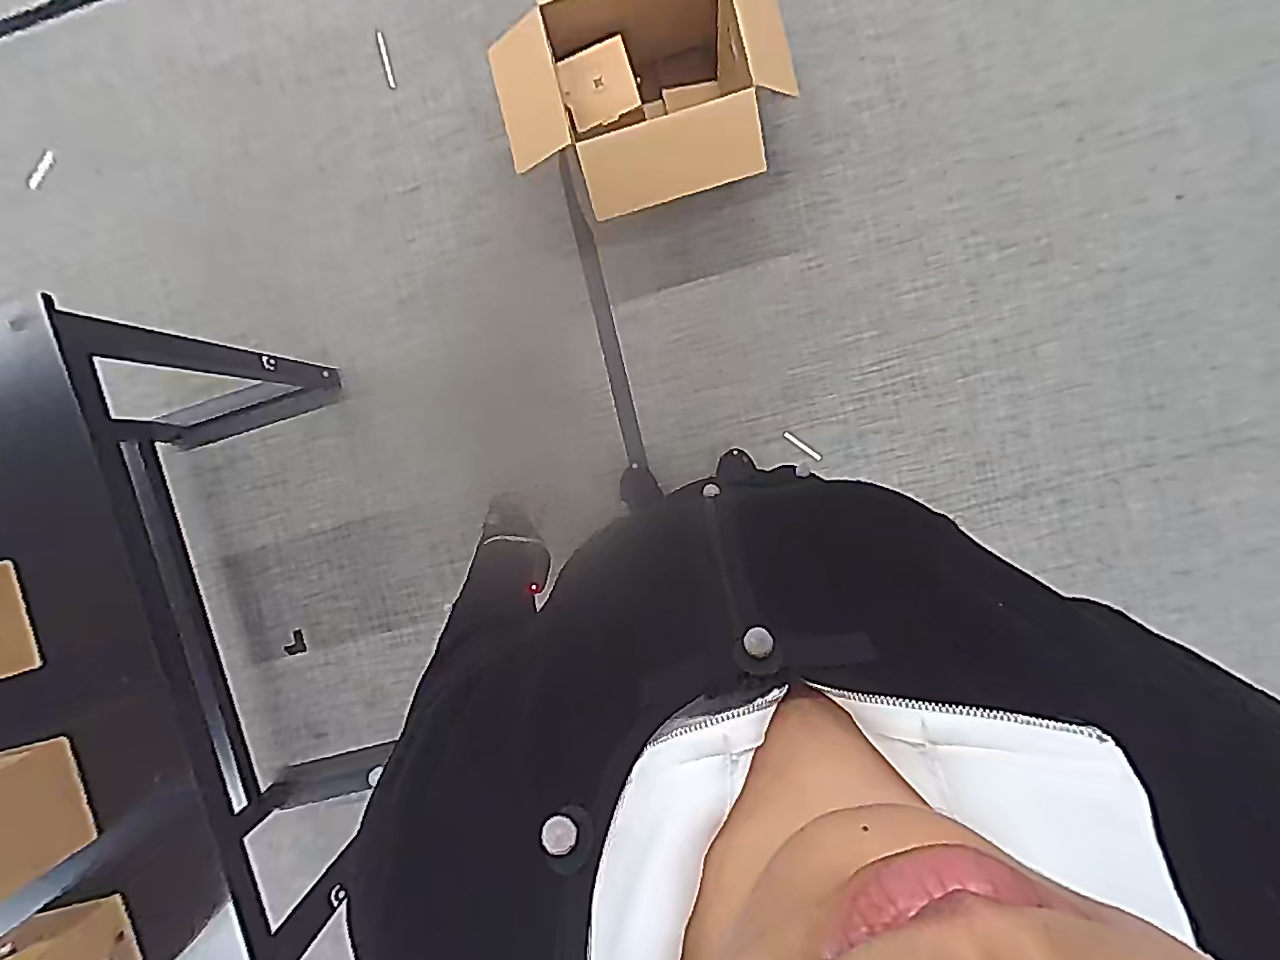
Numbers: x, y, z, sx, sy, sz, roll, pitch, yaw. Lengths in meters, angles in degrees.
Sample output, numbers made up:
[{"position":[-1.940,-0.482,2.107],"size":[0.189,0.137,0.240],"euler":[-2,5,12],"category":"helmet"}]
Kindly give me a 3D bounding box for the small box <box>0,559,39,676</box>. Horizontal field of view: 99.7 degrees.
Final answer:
[{"position":[-1.058,0.232,0.792],"size":[0.168,0.176,0.179],"euler":[-14,93,5],"category":"small box"}]

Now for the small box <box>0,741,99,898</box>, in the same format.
[{"position":[-0.981,0.514,0.803],"size":[0.168,0.176,0.179],"euler":[-16,92,6],"category":"small box"}]

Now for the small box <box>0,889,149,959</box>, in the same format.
[{"position":[-0.908,0.771,0.815],"size":[0.179,0.176,0.168],"euler":[-17,92,5],"category":"small box"}]
